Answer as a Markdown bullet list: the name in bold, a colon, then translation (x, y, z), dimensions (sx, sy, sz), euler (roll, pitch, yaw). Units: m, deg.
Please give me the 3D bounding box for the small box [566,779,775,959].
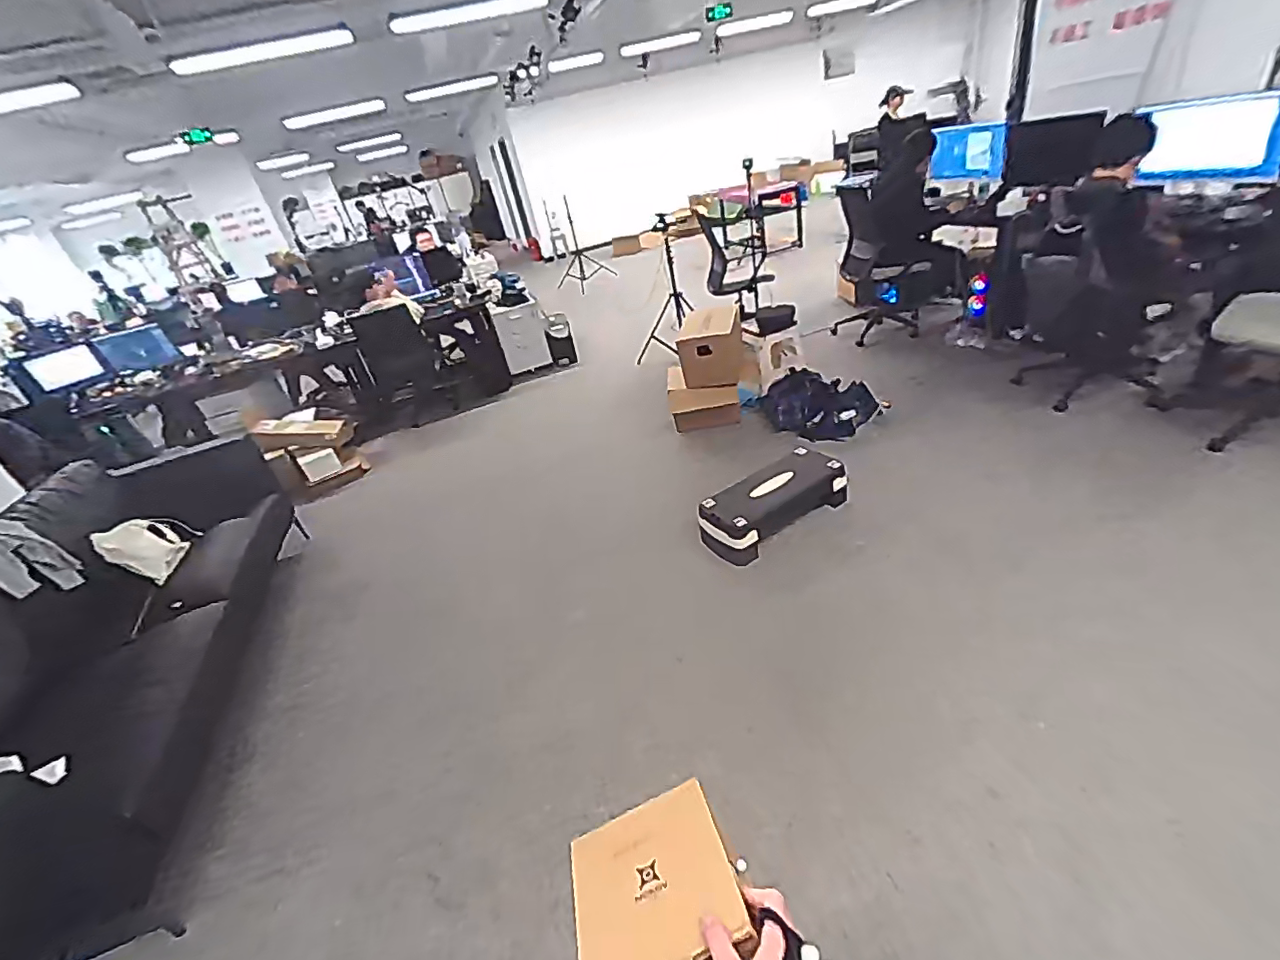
- **small box**: translation (0.035, 0.473, 0.570), dimensions (0.168, 0.176, 0.179), euler (-26, 16, -4)
